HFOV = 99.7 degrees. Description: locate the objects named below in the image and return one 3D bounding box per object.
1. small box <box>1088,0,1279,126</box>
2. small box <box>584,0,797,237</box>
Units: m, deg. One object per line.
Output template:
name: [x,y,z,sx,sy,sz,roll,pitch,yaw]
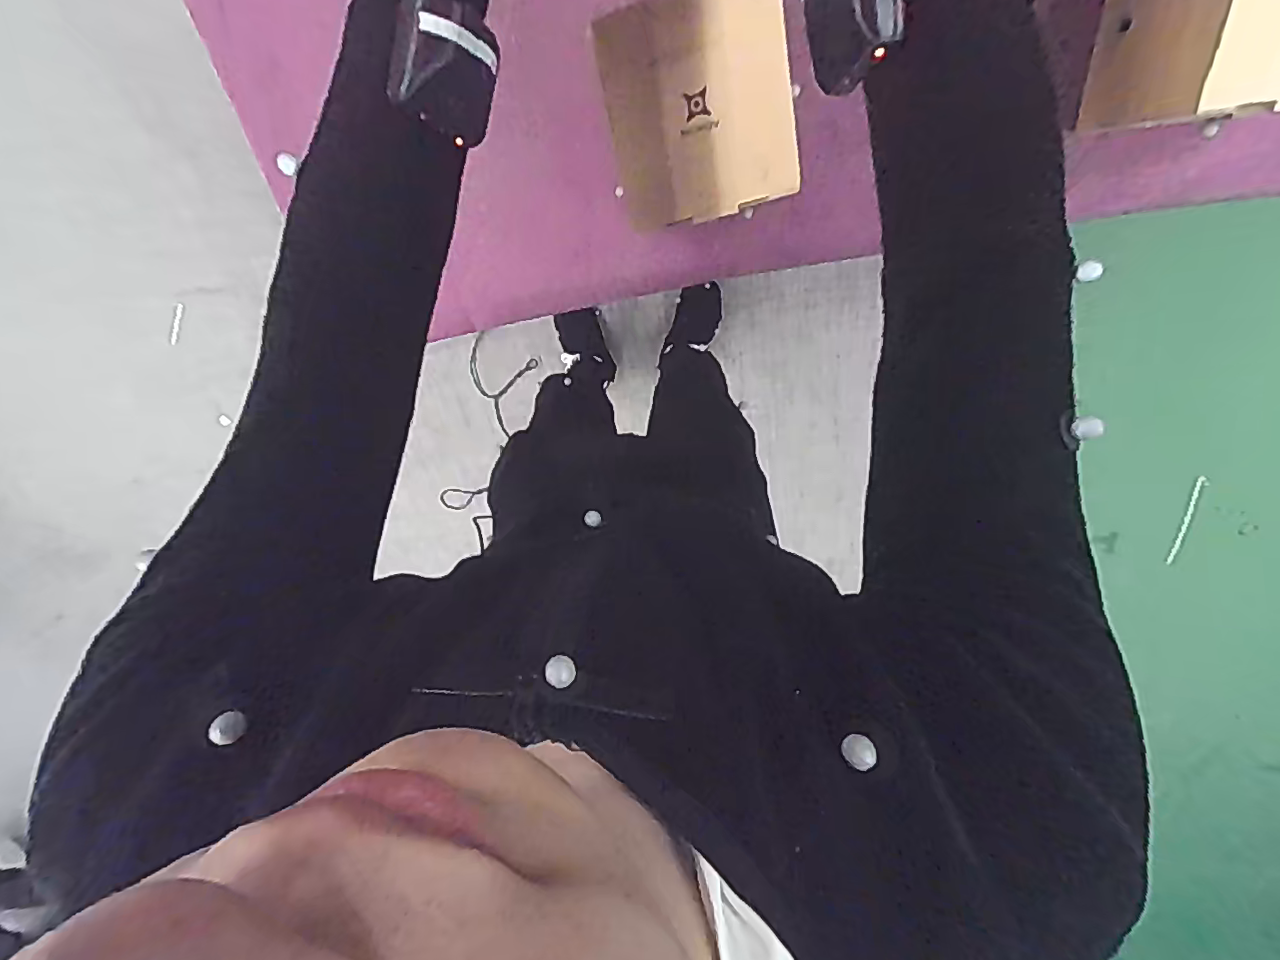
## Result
small box: [0.537,-0.417,0.463,0.168,0.176,0.179,-2,118,8]
small box: [0.057,-0.365,0.549,0.168,0.176,0.179,-10,117,11]
